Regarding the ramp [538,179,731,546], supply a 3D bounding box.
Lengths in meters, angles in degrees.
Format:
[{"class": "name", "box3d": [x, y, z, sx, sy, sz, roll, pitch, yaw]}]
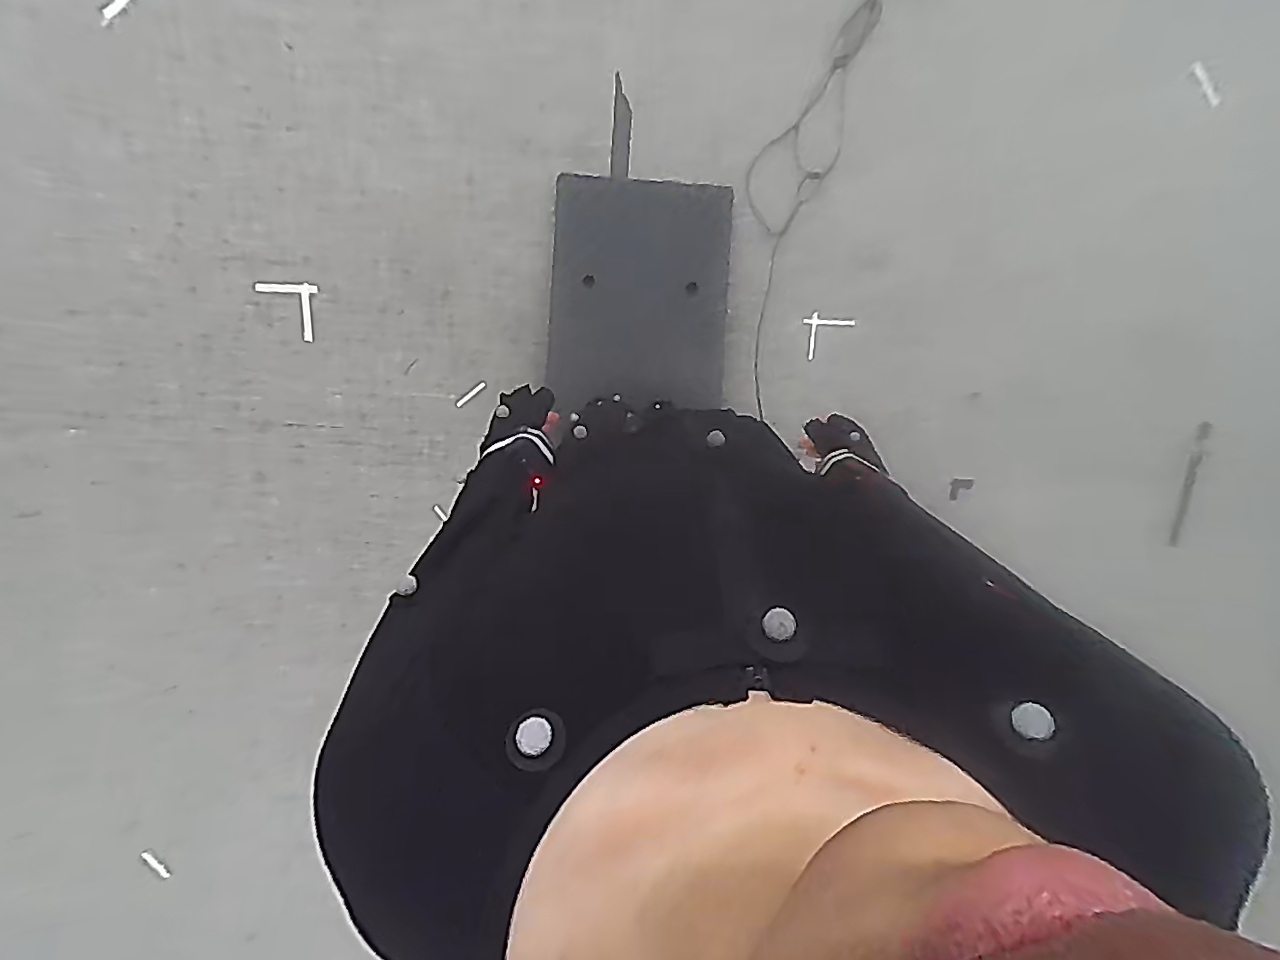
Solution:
[{"class": "ramp", "box3d": [-0.014, -0.325, 1.501, 0.509, 0.206, 0.991, 2, 99, -1]}]
